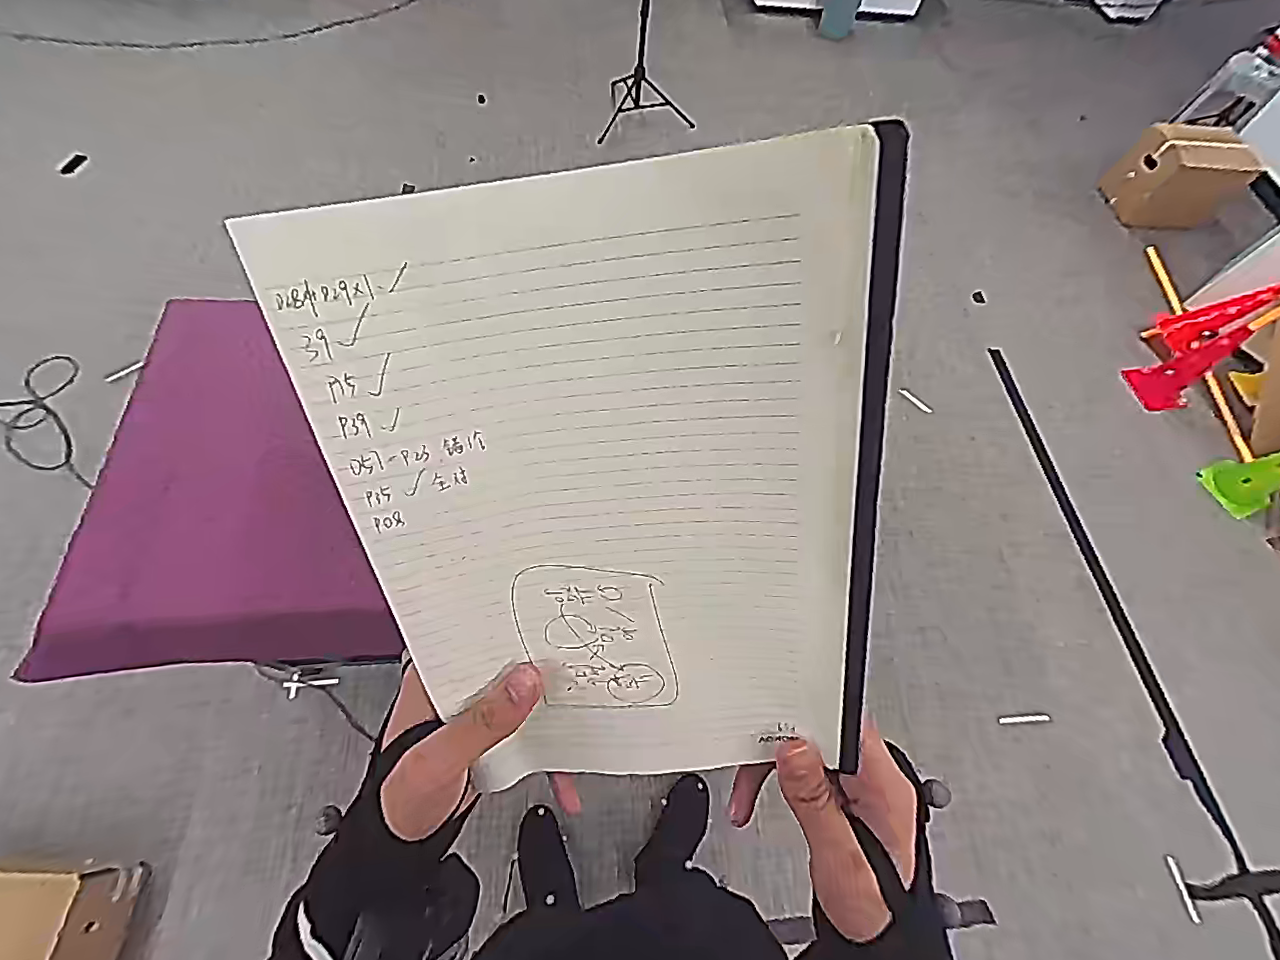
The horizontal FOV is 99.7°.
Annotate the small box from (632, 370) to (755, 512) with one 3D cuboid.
[{"bbox_3d":[0.076,-0.056,0.878,0.168,0.176,0.179,0,62,-6],"label":"small box"}]
